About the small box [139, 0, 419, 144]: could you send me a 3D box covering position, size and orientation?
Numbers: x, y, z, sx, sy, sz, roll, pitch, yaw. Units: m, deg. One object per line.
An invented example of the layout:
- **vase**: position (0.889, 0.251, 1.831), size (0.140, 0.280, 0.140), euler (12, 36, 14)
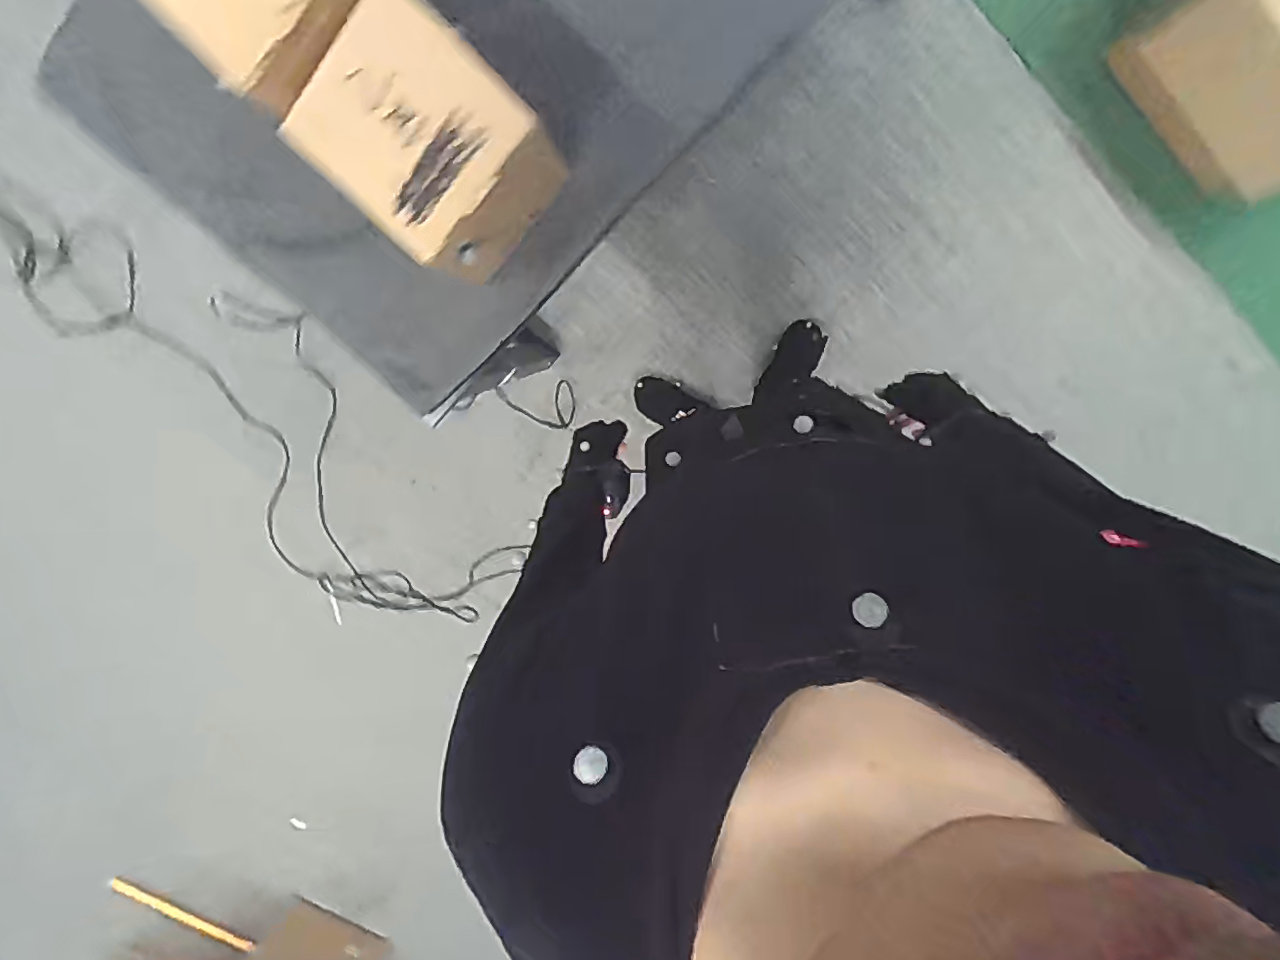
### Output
- **small box**: position (-0.363, -0.480, 0.535), size (0.179, 0.176, 0.168), euler (44, 103, -10)
